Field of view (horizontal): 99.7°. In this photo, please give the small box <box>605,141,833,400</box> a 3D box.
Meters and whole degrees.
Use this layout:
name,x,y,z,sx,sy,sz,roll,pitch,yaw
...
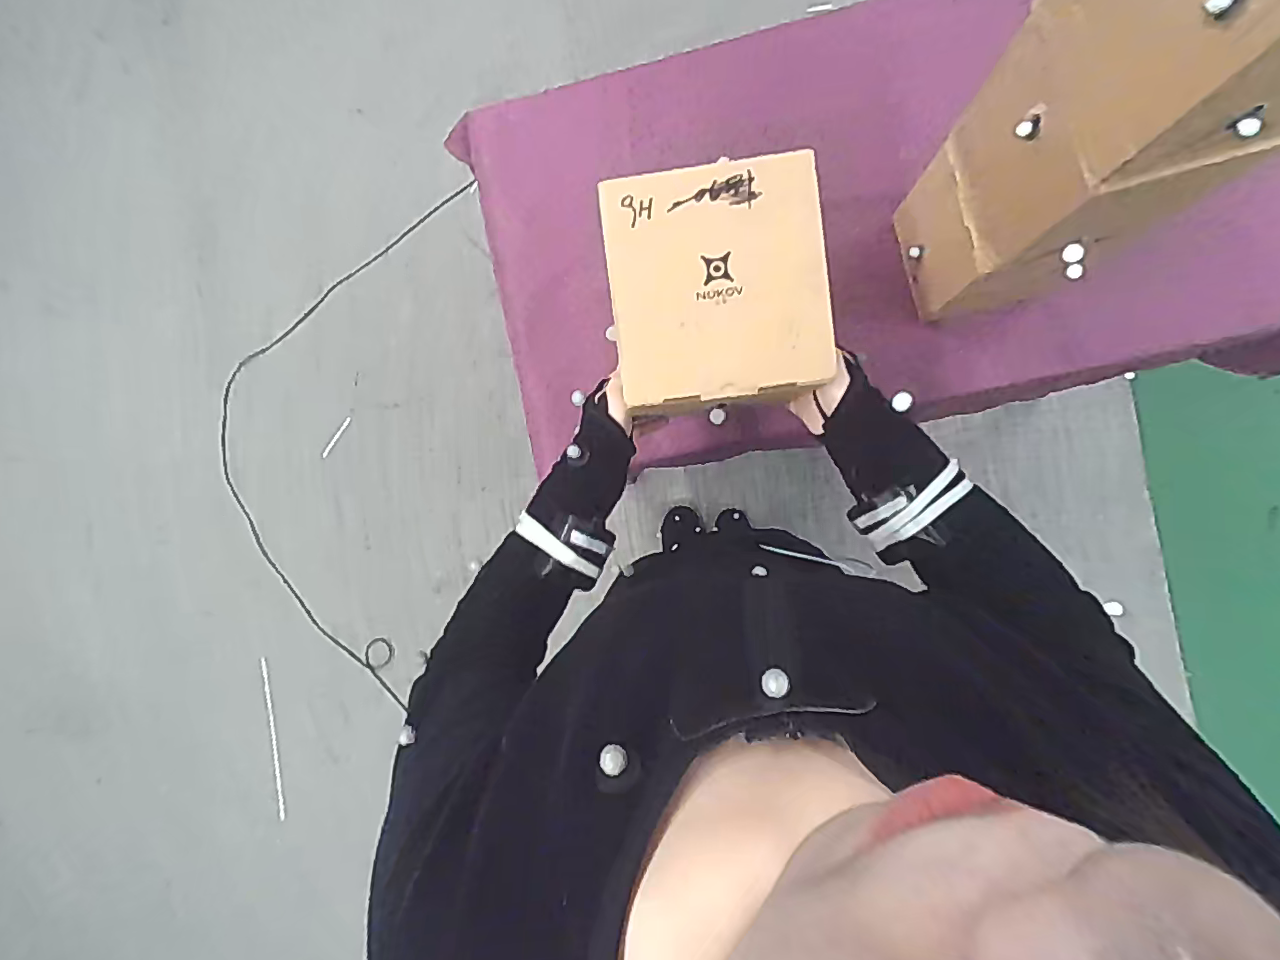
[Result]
name,x,y,z,sx,sy,sz,roll,pitch,yaw
small box,0.067,-0.169,0.497,0.168,0.176,0.179,-6,94,4

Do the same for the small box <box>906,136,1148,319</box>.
name,x,y,z,sx,sy,sz,roll,pitch,yaw
small box,0.472,-0.323,0.687,0.179,0.176,0.168,-10,86,5

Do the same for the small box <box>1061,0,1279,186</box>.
name,x,y,z,sx,sy,sz,roll,pitch,yaw
small box,0.435,-0.343,0.364,0.168,0.176,0.179,-14,88,6

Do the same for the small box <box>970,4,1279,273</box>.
name,x,y,z,sx,sy,sz,roll,pitch,yaw
small box,0.455,-0.331,0.525,0.168,0.176,0.179,-11,88,6
